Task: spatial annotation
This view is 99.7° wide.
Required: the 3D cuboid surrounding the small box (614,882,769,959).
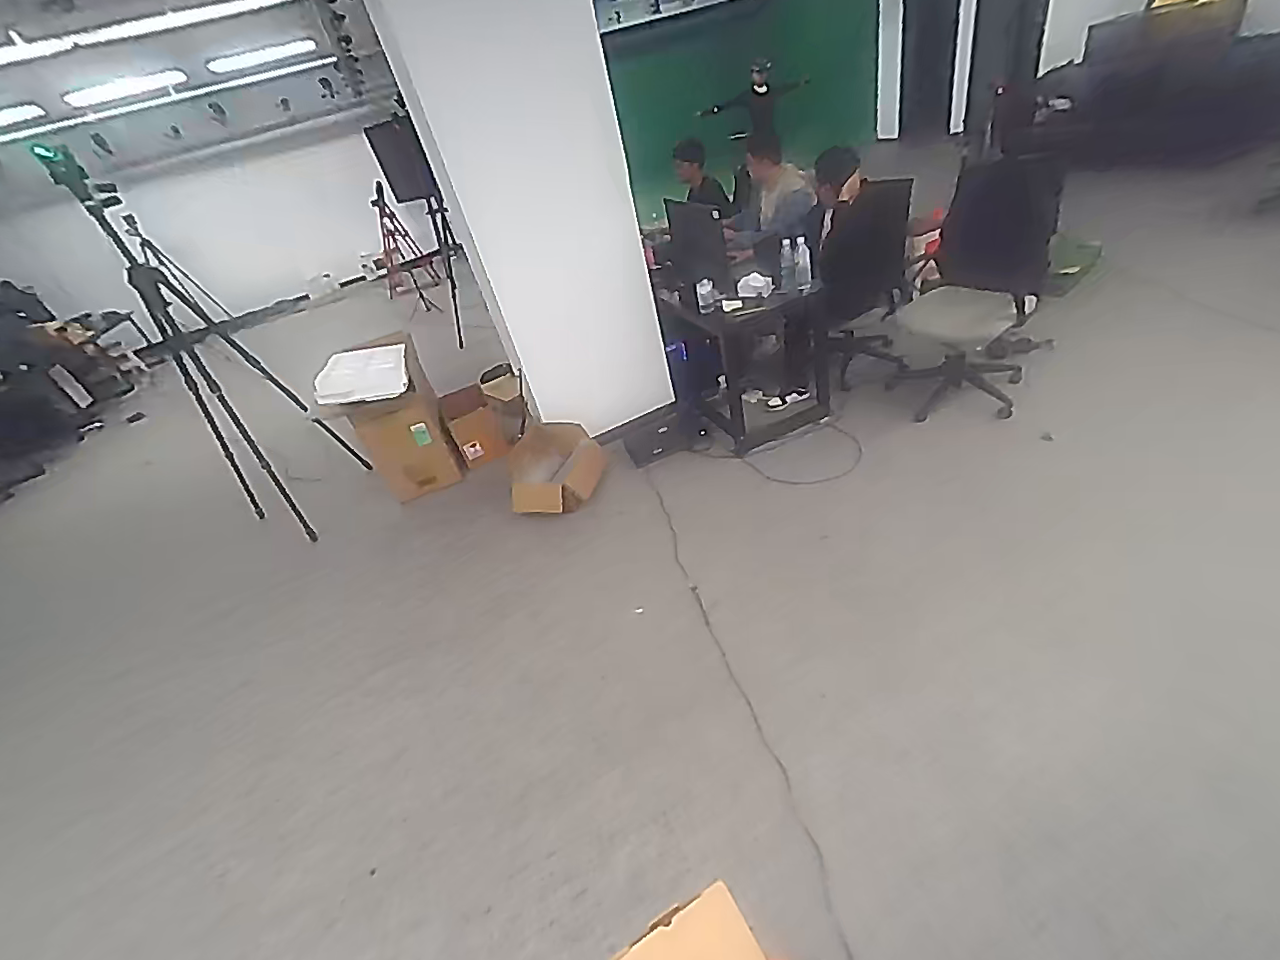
[{"bbox_3d":[0.087,0.640,0.645,0.168,0.176,0.179,-25,42,-15],"label":"small box"}]
